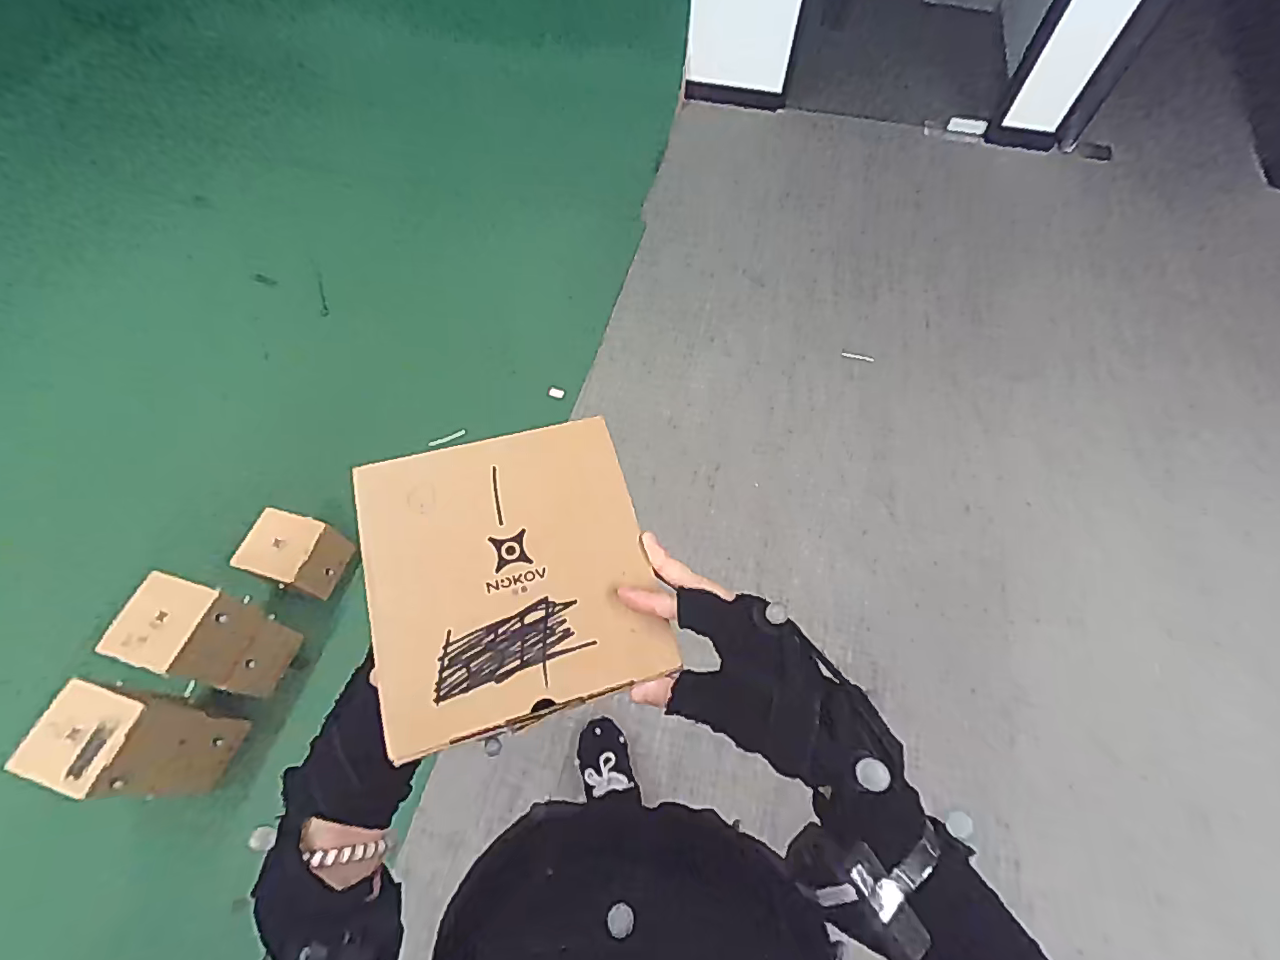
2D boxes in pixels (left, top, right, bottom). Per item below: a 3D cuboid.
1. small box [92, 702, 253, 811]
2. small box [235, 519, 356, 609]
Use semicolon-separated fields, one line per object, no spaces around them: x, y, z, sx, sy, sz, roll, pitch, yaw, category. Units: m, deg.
-1.035;0.619;1.218;0.179;0.176;0.168;17;62;9;small box
-0.901;0.228;1.434;0.179;0.176;0.168;14;62;6;small box
